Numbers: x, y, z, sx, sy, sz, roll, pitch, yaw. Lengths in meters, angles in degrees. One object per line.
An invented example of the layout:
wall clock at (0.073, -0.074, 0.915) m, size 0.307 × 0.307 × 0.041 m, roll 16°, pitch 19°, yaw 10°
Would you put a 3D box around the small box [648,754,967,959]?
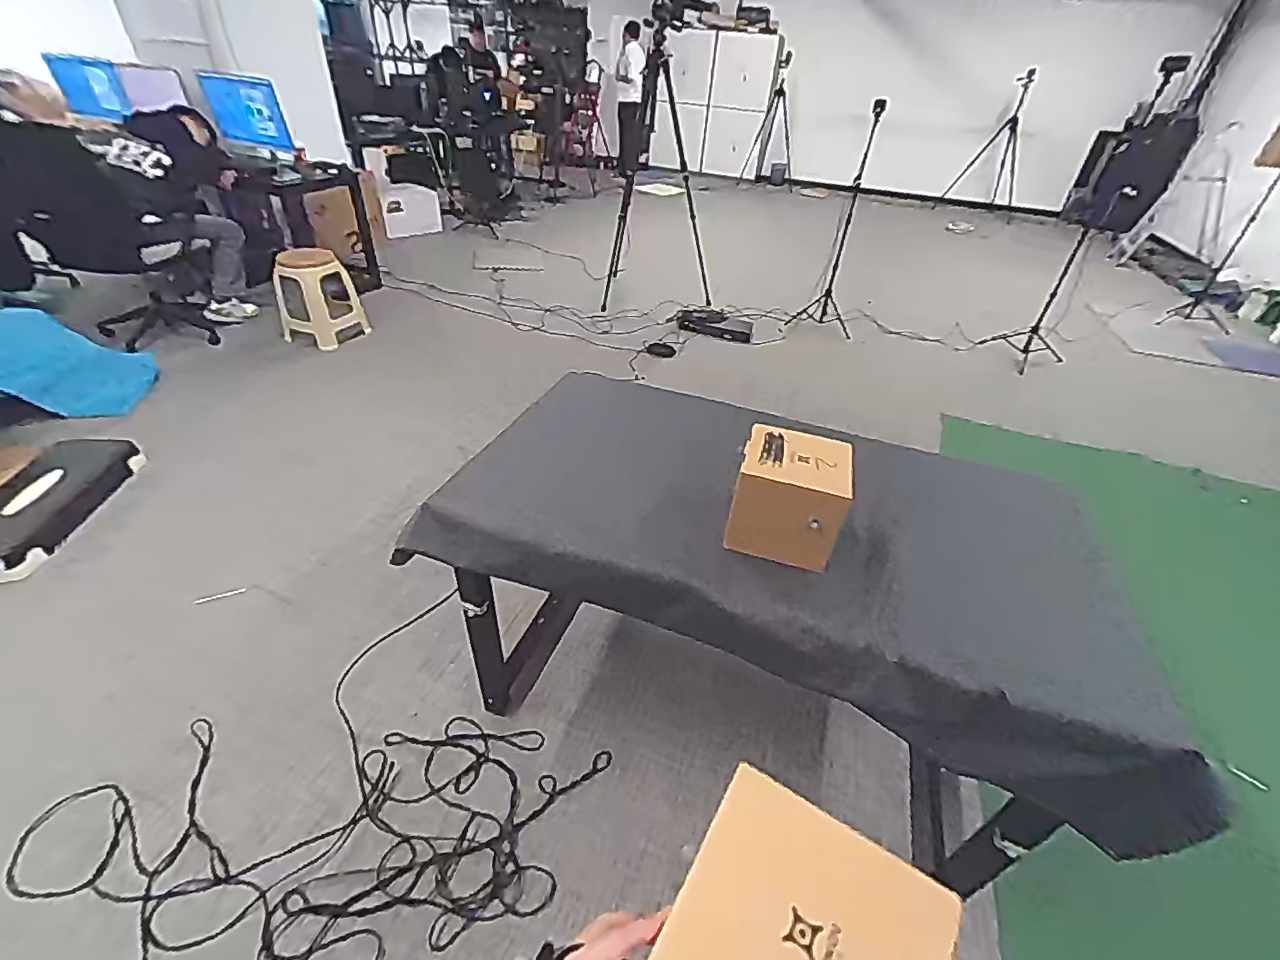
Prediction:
small box at (0.114, 0.362, 0.416) m, size 0.179 × 0.176 × 0.168 m, roll 24°, pitch 44°, yaw 22°
